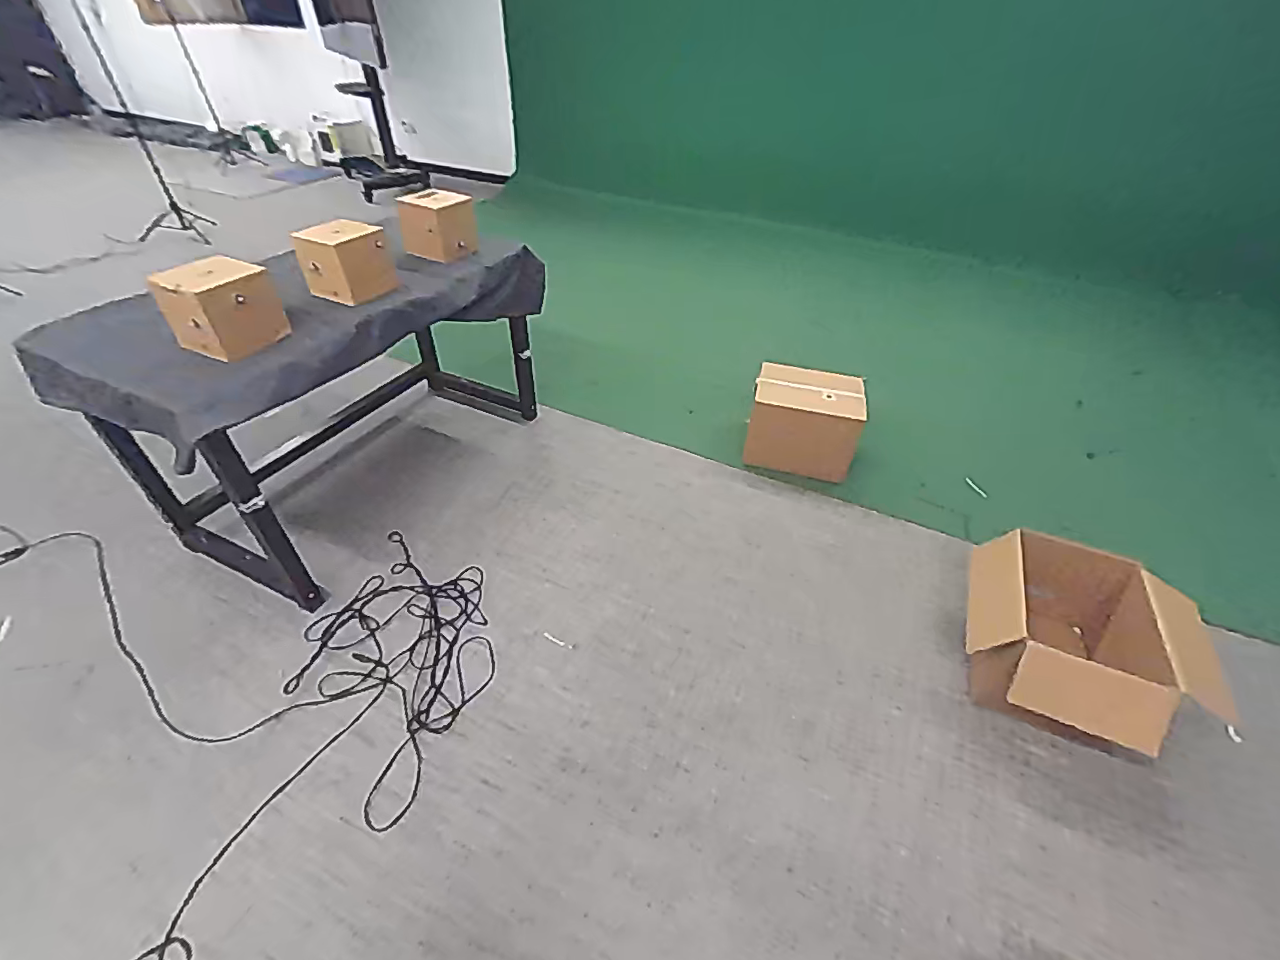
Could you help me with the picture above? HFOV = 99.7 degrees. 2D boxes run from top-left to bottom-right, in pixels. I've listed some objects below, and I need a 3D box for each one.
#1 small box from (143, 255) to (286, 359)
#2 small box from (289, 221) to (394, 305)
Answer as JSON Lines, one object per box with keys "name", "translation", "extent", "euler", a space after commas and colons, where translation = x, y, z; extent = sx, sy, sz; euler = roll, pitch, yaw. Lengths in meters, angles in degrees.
{"name": "small box", "translation": [-0.976, -0.402, 1.260], "extent": [0.168, 0.176, 0.179], "euler": [19, 42, 16]}
{"name": "small box", "translation": [-0.821, -0.606, 1.510], "extent": [0.168, 0.176, 0.179], "euler": [19, 43, 18]}
